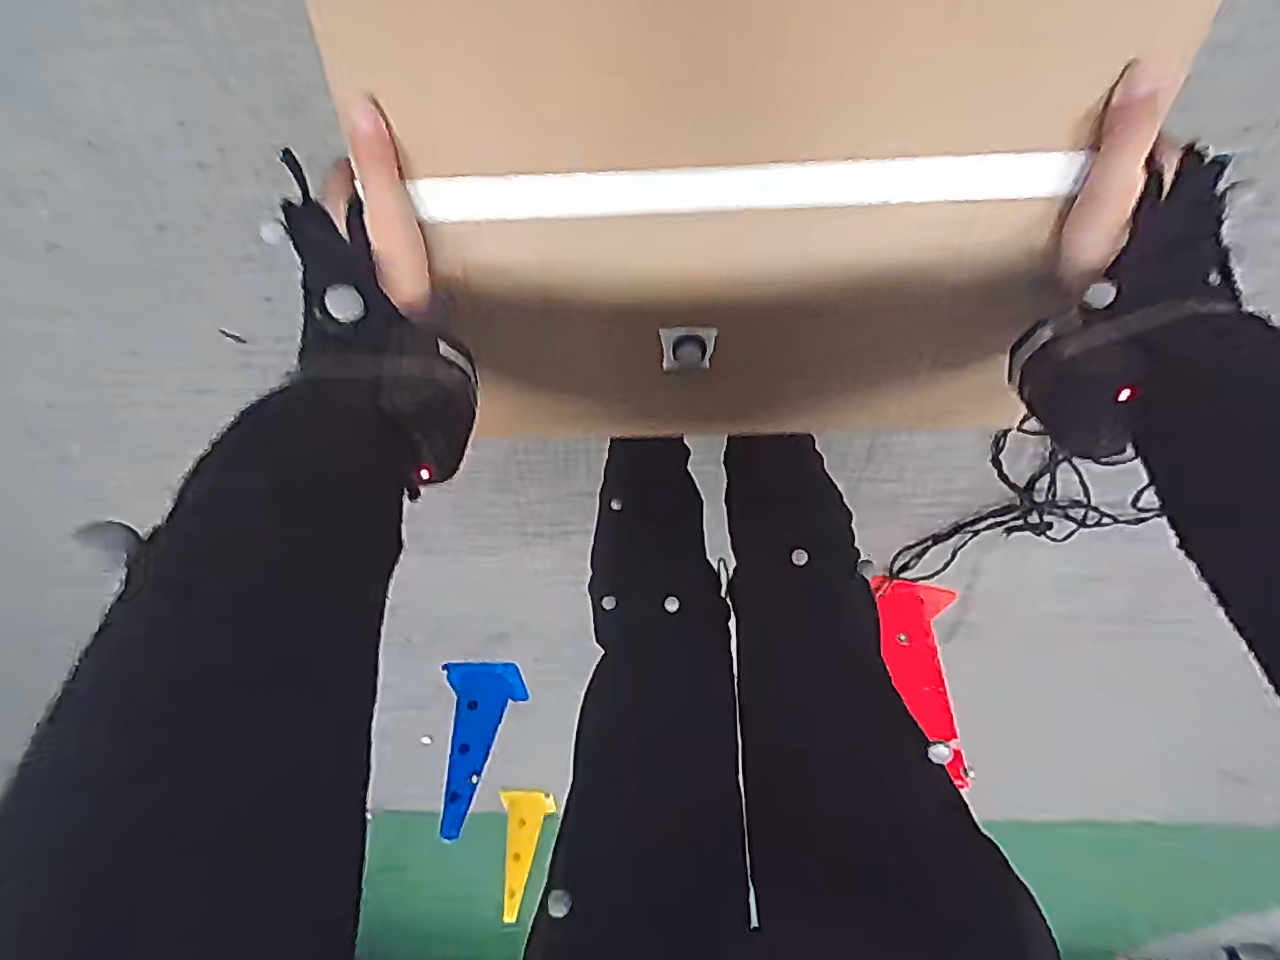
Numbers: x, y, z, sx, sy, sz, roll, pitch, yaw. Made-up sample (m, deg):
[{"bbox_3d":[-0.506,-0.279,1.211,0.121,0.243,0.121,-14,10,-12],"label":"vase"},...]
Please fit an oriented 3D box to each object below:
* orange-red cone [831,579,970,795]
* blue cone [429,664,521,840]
[{"bbox_3d":[0.533,0.395,1.025,0.199,0.360,0.198,14,132,-11],"label":"orange-red cone"},{"bbox_3d":[-0.423,0.649,1.308,0.192,0.380,0.193,0,131,3],"label":"blue cone"}]
